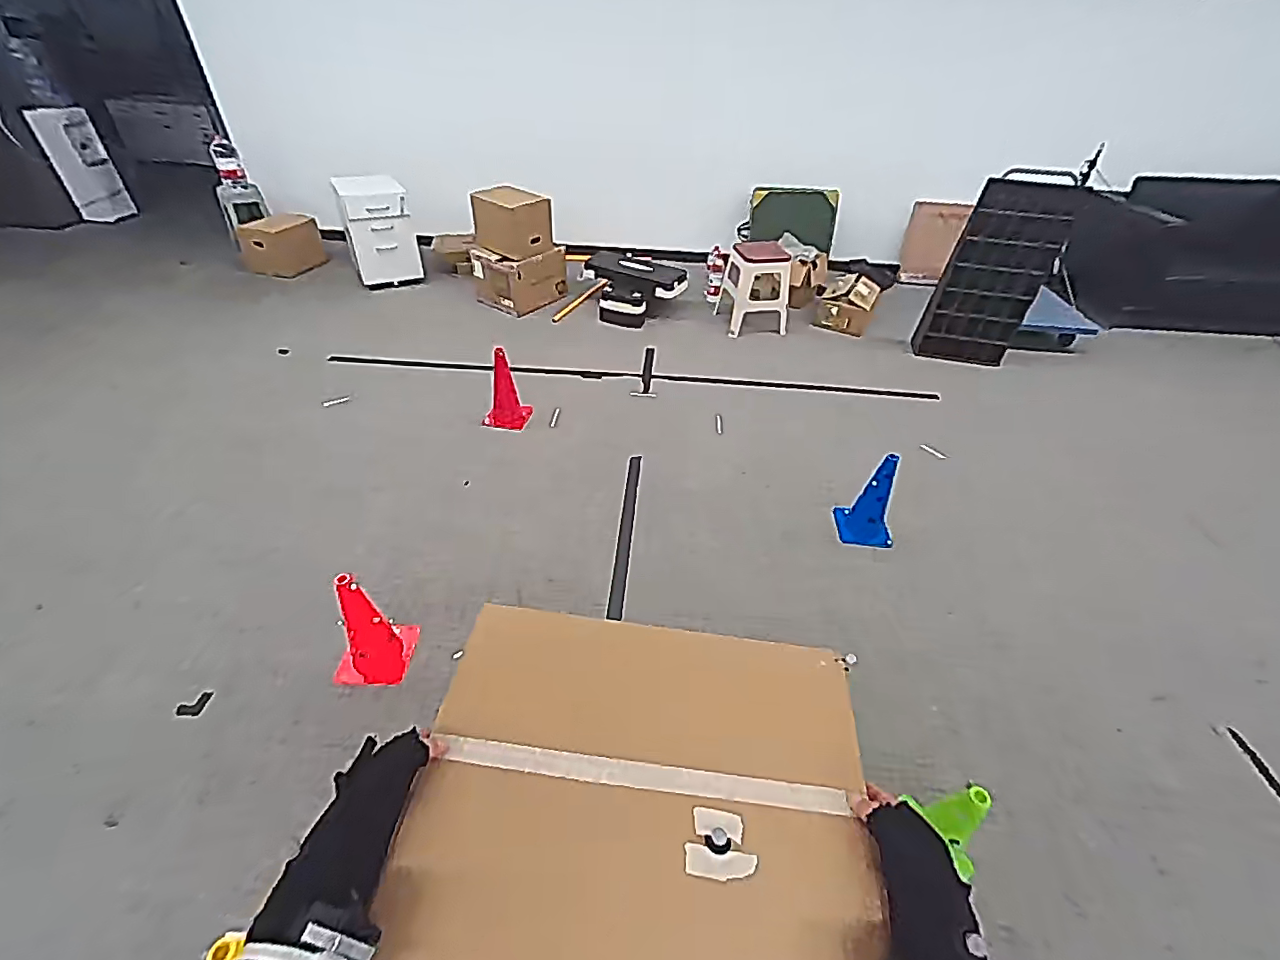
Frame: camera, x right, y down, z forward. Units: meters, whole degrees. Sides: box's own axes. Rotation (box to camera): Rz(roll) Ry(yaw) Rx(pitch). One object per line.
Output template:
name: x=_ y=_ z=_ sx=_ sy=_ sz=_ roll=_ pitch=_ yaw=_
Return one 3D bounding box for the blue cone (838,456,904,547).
blue cone: x=0.901 y=0.064 z=2.044 sx=0.192 sy=0.380 sz=0.193 roll=7 pitch=41 yaw=3

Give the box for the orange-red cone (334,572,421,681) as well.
orange-red cone: x=-0.781 y=0.388 z=1.523 sx=0.198 sy=0.360 sz=0.199 roll=2 pitch=42 yaw=0

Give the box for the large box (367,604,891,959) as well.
large box: x=-0.005 y=0.375 z=0.602 sx=0.408 sy=0.320 sz=0.320 roll=8 pitch=43 yaw=2

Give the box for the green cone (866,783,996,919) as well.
green cone: x=0.671 y=0.761 z=1.182 sx=0.202 sy=0.368 sz=0.200 roll=-20 pitch=47 yaw=-28

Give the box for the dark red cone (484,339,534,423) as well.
dark red cone: x=-0.619 y=-0.461 z=2.495 sx=0.201 sy=0.394 sz=0.202 roll=9 pitch=41 yaw=5
